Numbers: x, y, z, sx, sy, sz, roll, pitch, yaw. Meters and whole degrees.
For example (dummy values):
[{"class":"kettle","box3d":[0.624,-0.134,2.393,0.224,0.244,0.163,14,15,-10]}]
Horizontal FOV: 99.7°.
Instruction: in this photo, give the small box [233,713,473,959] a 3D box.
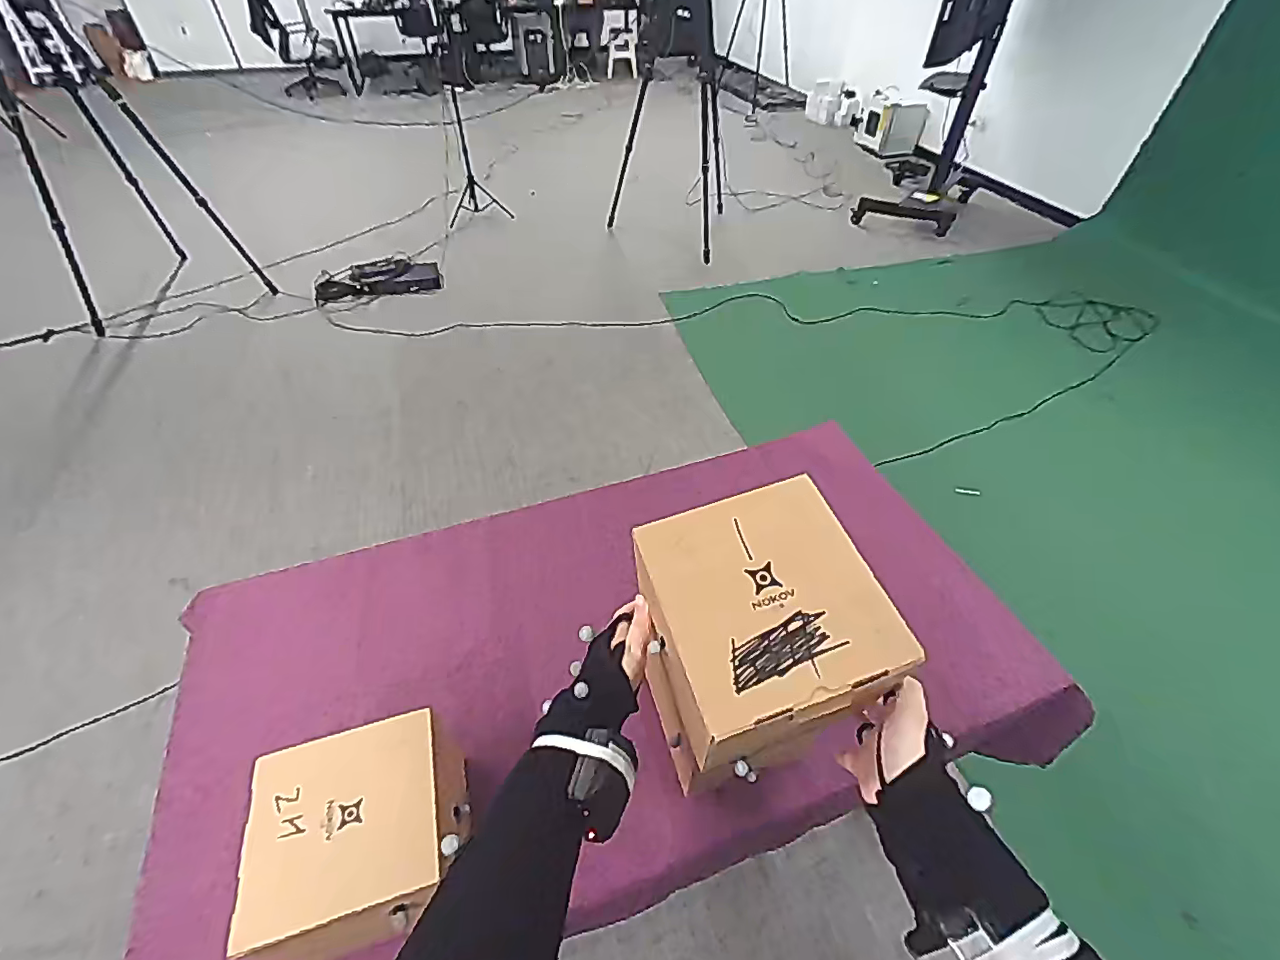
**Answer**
[{"class":"small box","box3d":[-0.286,0.385,0.583,0.179,0.176,0.168,-13,47,-12]}]
